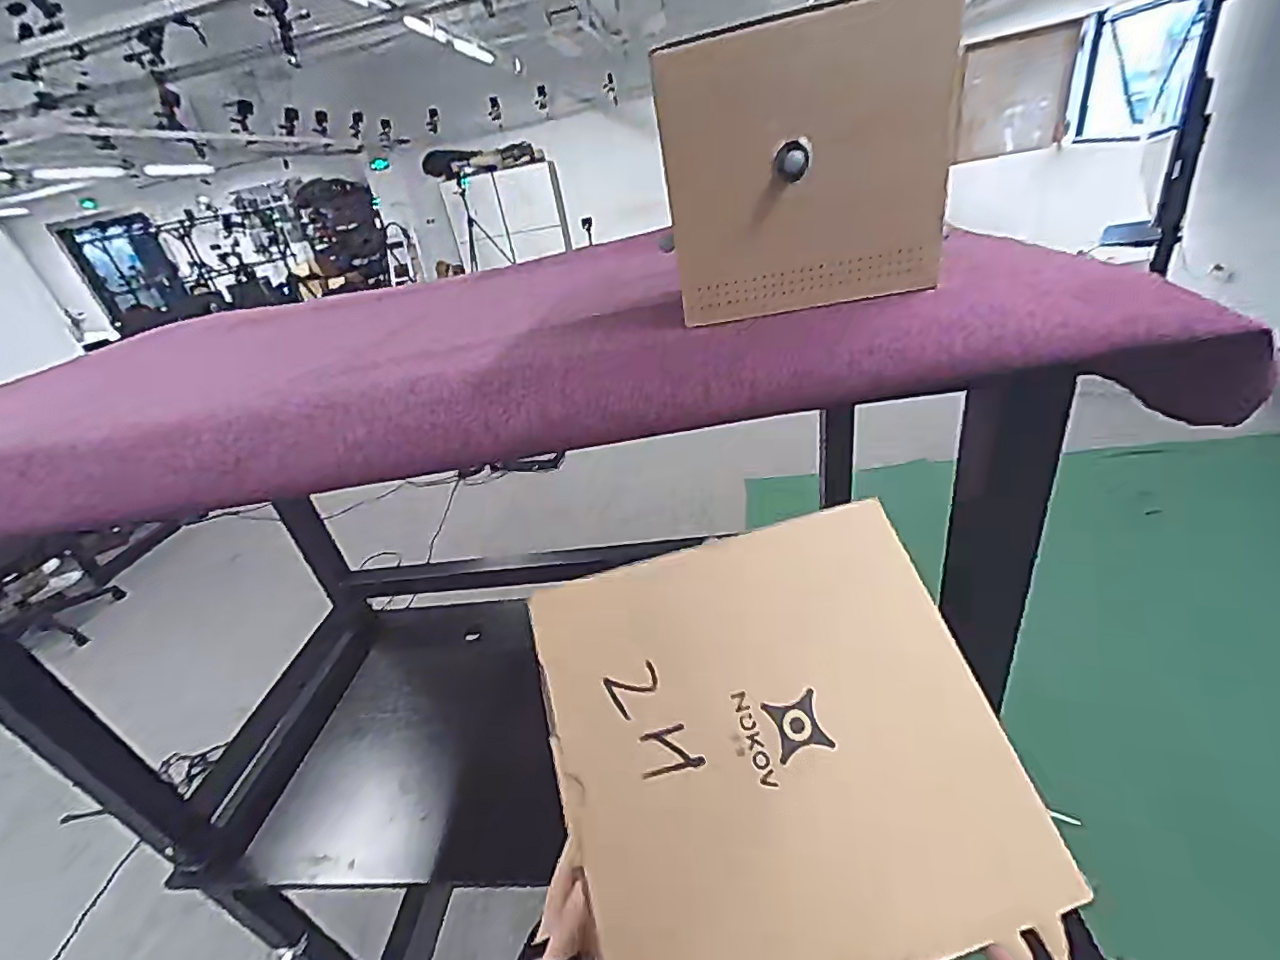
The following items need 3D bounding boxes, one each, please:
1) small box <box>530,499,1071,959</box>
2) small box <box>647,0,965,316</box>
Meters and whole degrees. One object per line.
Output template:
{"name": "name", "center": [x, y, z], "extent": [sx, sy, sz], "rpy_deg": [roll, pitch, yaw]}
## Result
{"name": "small box", "center": [0.053, 0.134, 0.290], "extent": [0.179, 0.176, 0.168], "rpy_deg": [-15, 62, -7]}
{"name": "small box", "center": [0.111, -0.237, 0.405], "extent": [0.179, 0.176, 0.168], "rpy_deg": [-7, 30, 10]}
